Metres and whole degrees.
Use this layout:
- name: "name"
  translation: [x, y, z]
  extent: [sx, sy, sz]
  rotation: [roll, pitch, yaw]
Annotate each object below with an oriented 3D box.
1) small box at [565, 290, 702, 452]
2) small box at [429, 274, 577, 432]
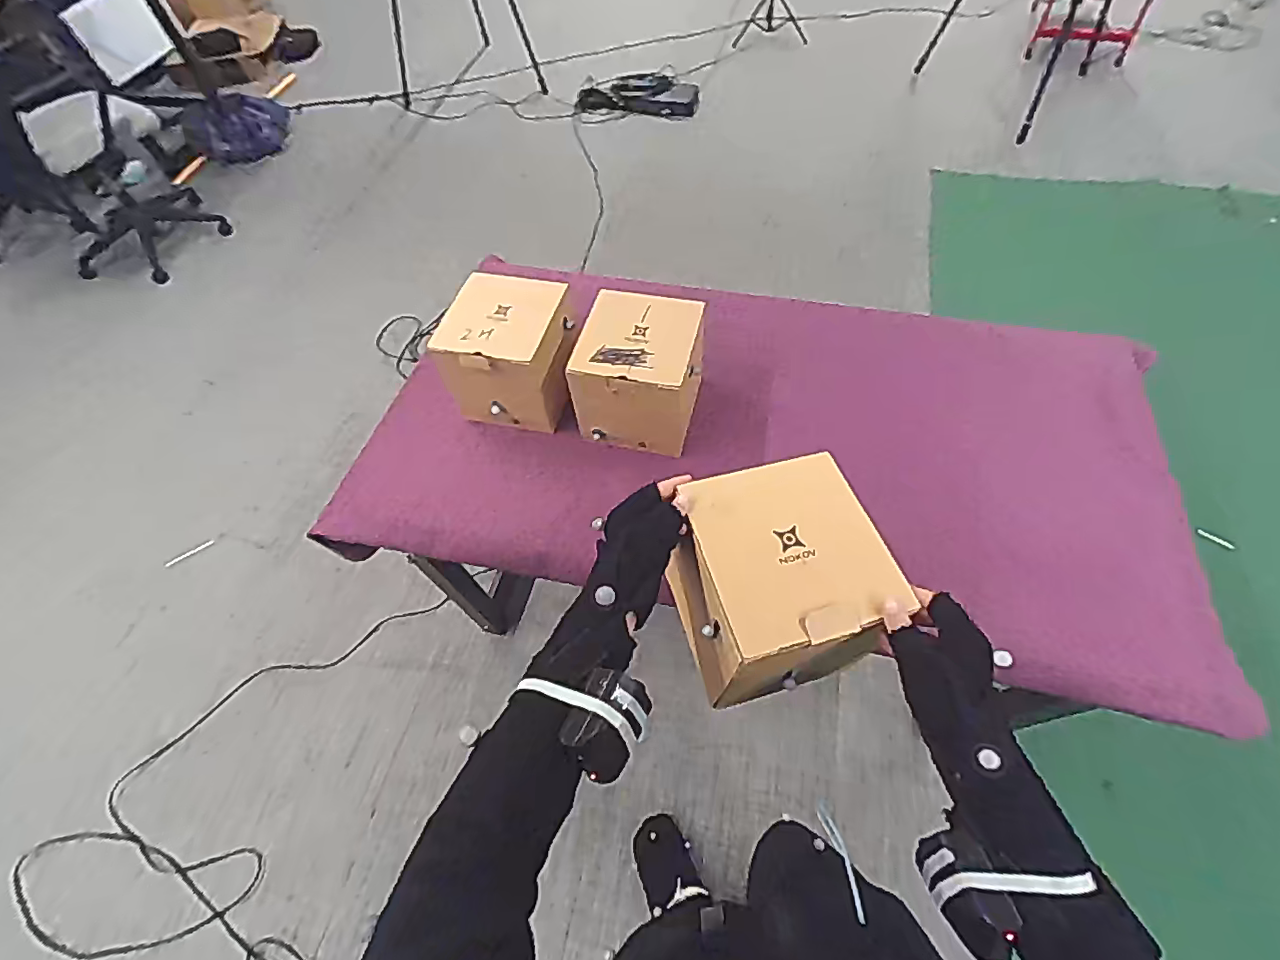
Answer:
- name: "small box"
  translation: [0.000, -0.165, 0.846]
  extent: [0.168, 0.176, 0.179]
  rotation: [11, 59, 10]
- name: "small box"
  translation: [-0.207, -0.205, 0.885]
  extent: [0.168, 0.176, 0.179]
  rotation: [10, 60, 11]
